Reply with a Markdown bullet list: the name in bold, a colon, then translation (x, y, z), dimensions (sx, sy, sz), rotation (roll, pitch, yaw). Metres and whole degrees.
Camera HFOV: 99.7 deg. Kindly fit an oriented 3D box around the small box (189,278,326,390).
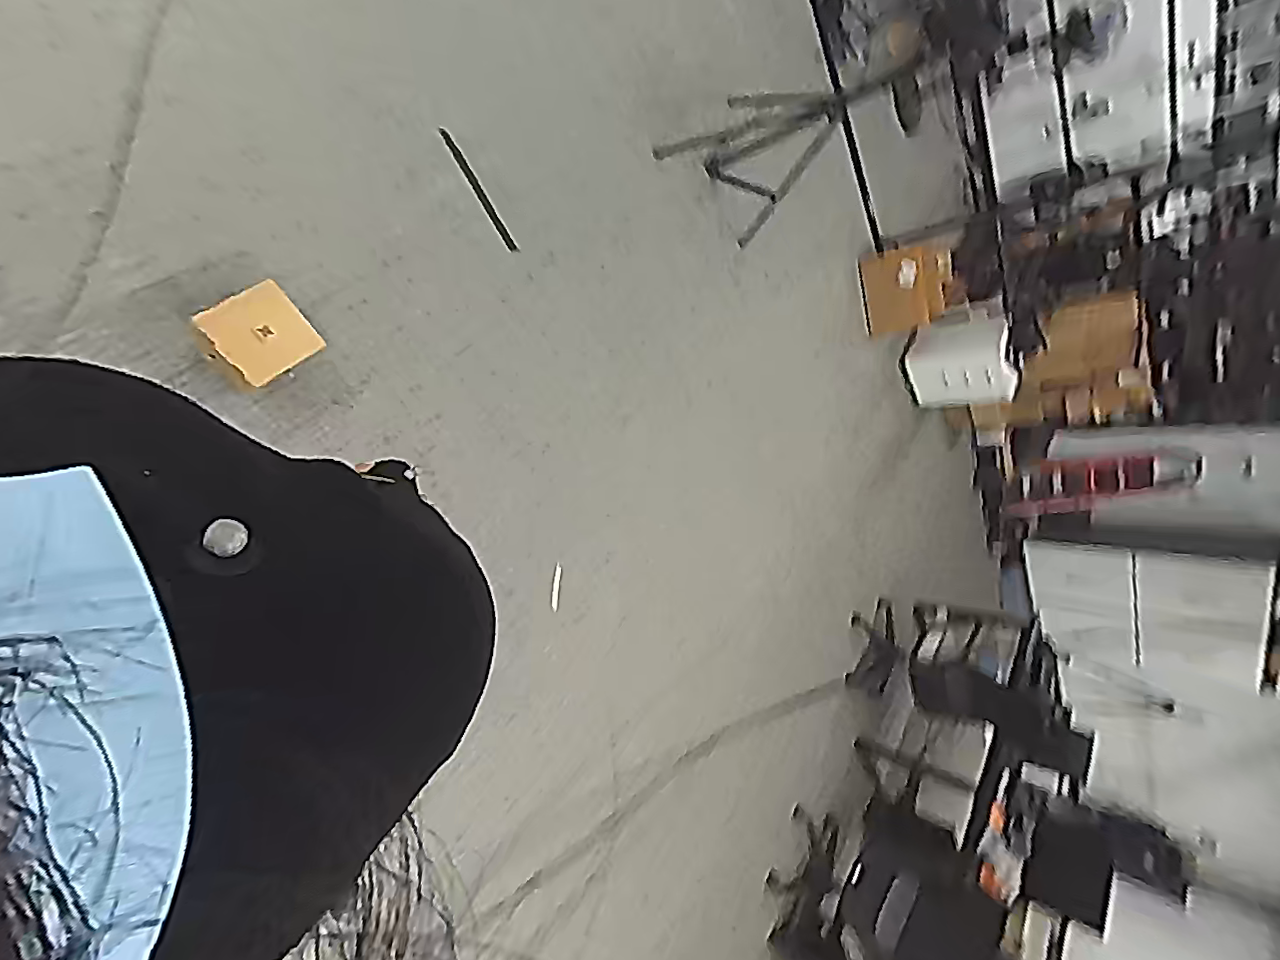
- **small box**: translation (-0.841, -0.314, 1.185), dimensions (0.179, 0.176, 0.168), rotation (-49, 123, -30)
